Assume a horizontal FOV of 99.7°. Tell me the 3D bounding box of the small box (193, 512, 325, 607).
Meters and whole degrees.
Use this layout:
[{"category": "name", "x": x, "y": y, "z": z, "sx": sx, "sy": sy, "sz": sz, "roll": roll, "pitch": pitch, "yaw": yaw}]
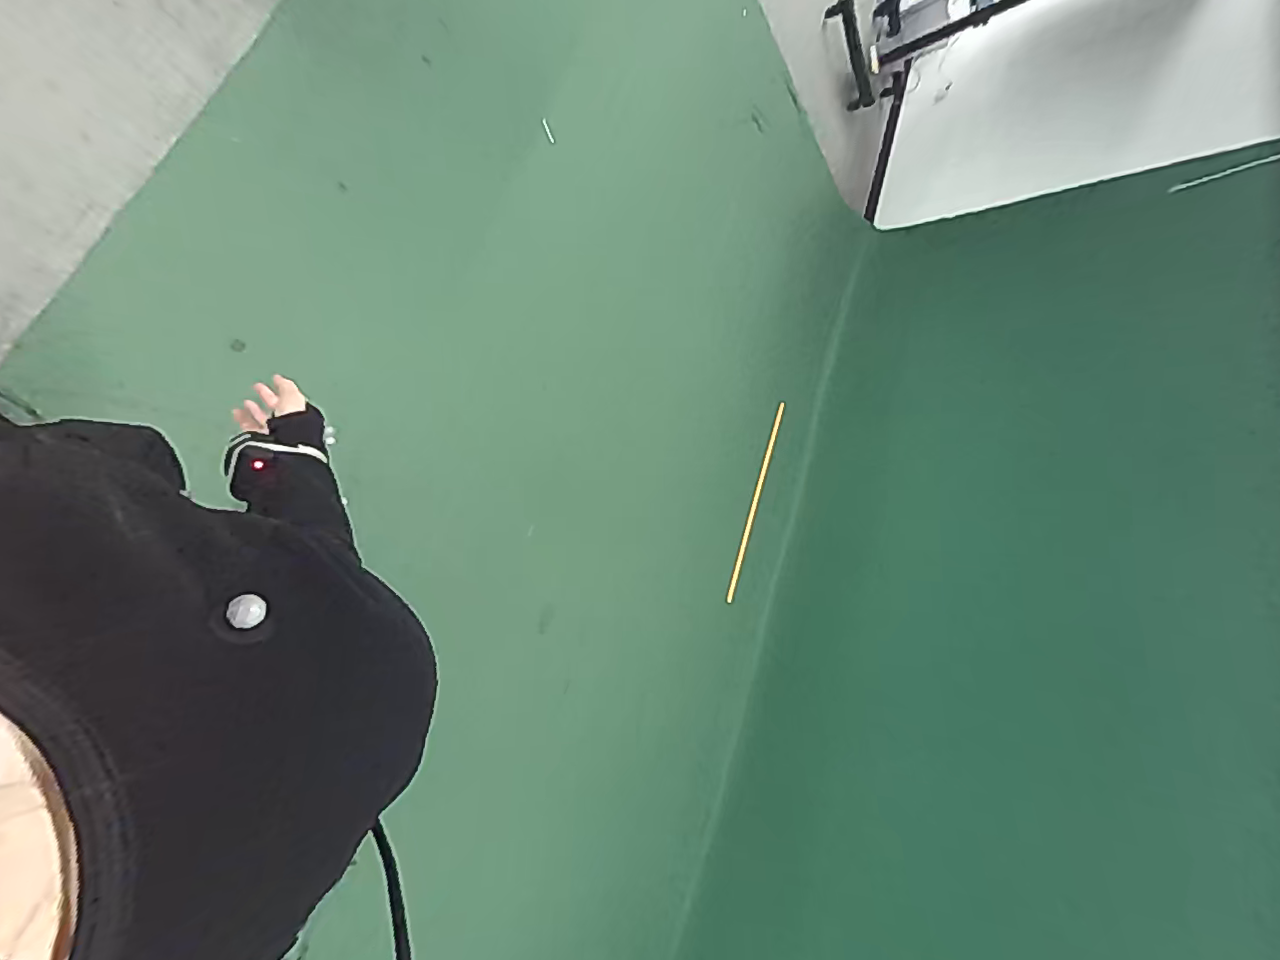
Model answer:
[{"category": "small box", "x": -0.879, "y": 0.180, "z": 1.249, "sx": 0.179, "sy": 0.176, "sz": 0.168, "roll": 34, "pitch": 68, "yaw": -46}]
